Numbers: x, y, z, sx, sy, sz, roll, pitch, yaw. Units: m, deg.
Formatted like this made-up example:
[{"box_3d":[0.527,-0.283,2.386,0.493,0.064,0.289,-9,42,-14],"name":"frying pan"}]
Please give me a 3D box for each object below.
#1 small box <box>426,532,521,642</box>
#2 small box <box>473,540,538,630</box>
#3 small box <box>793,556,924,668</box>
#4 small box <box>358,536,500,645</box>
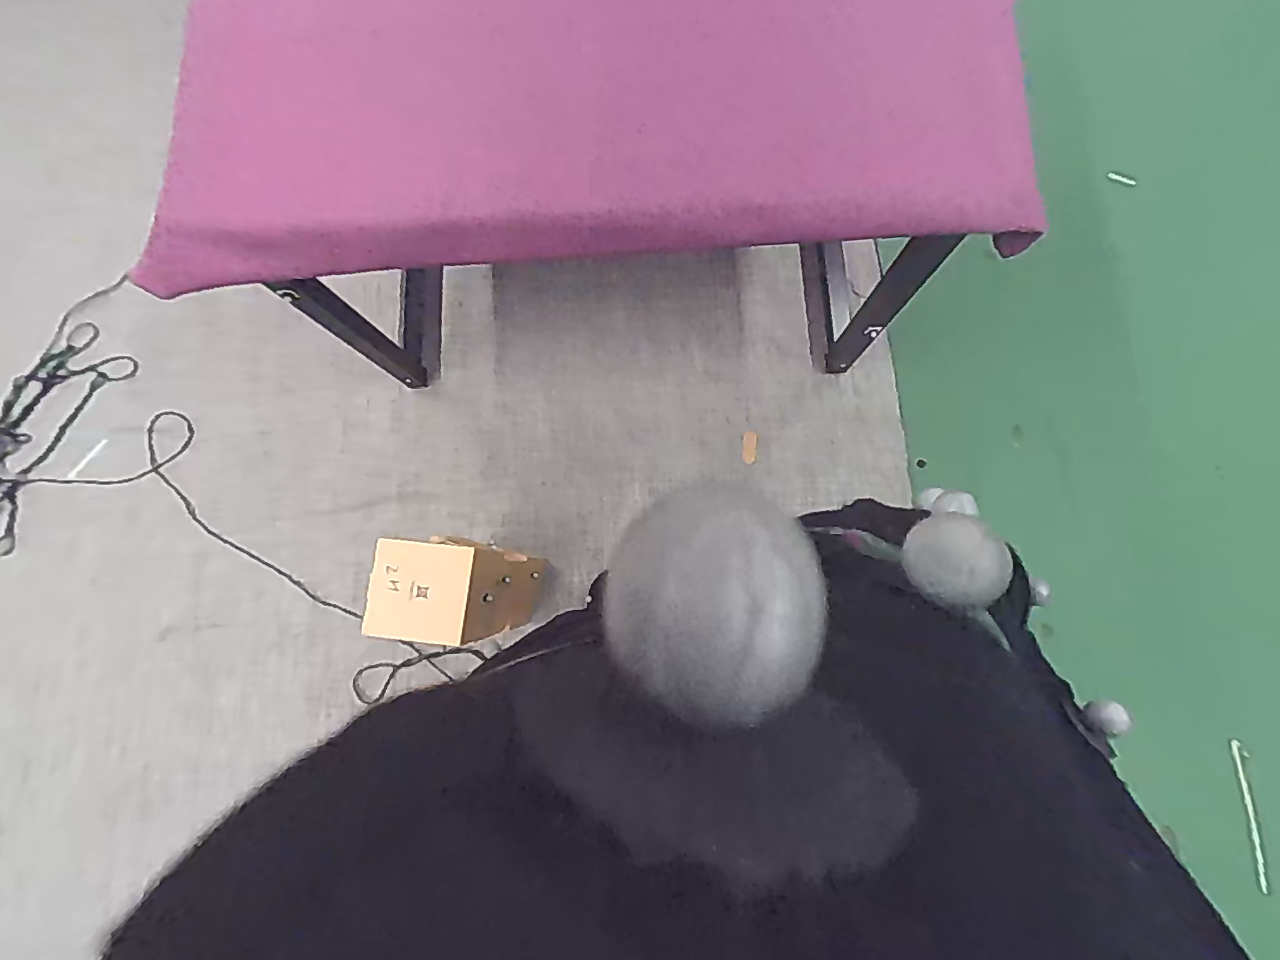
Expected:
[{"box_3d":[-0.372,0.224,1.149,0.168,0.176,0.179,18,81,7],"name":"small box"},{"box_3d":[-0.357,0.248,1.308,0.168,0.176,0.179,13,82,5],"name":"small box"},{"box_3d":[0.371,0.223,0.948,0.168,0.176,0.179,0,82,2],"name":"small box"},{"box_3d":[-0.371,0.197,0.985,0.179,0.176,0.168,6,80,5],"name":"small box"}]
